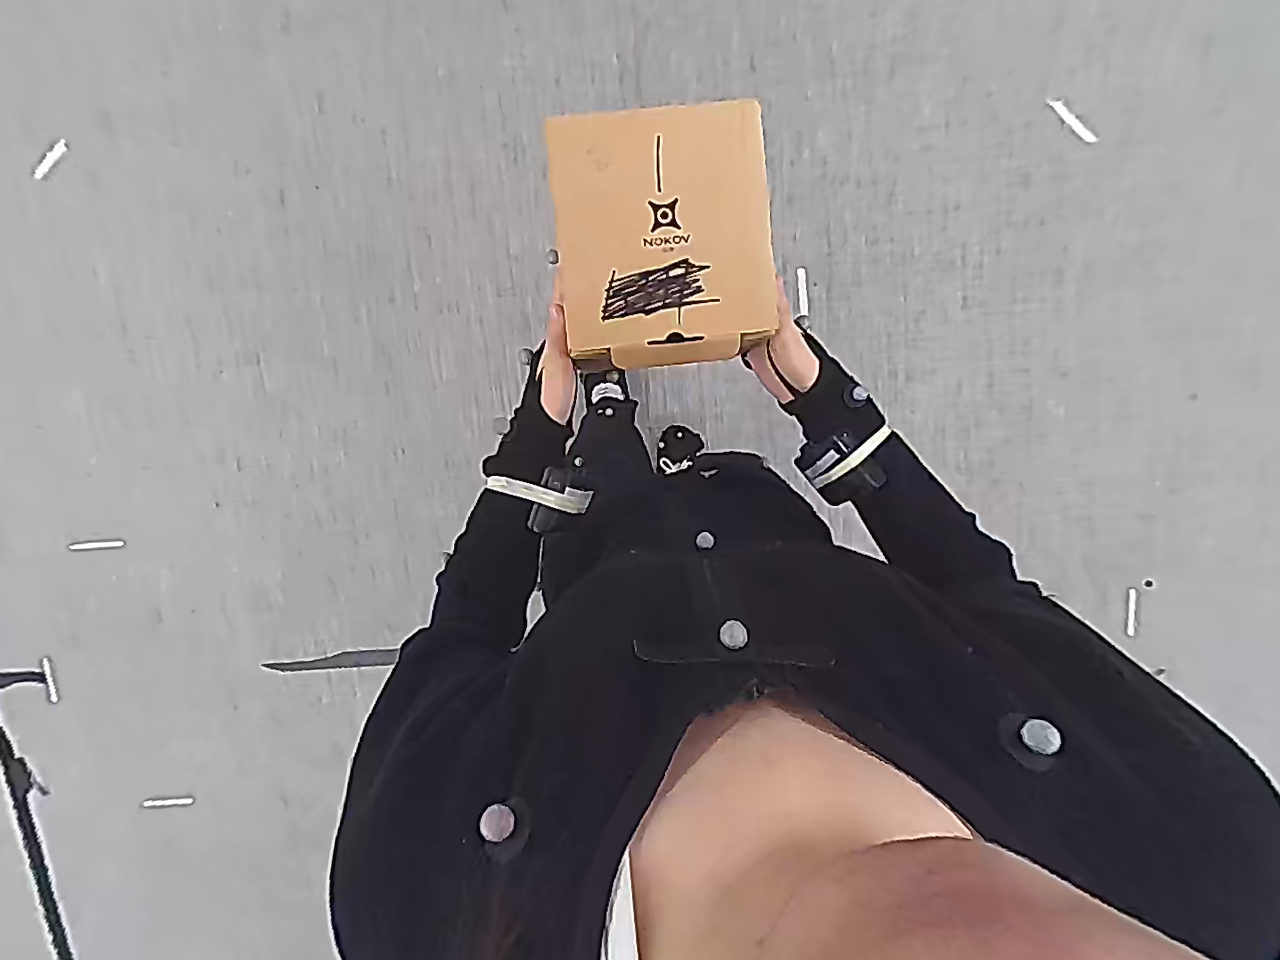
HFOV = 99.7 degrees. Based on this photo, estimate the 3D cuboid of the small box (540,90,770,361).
[{"bbox_3d":[0.011,-0.206,0.489,0.168,0.176,0.179,-6,96,-2],"label":"small box"}]
